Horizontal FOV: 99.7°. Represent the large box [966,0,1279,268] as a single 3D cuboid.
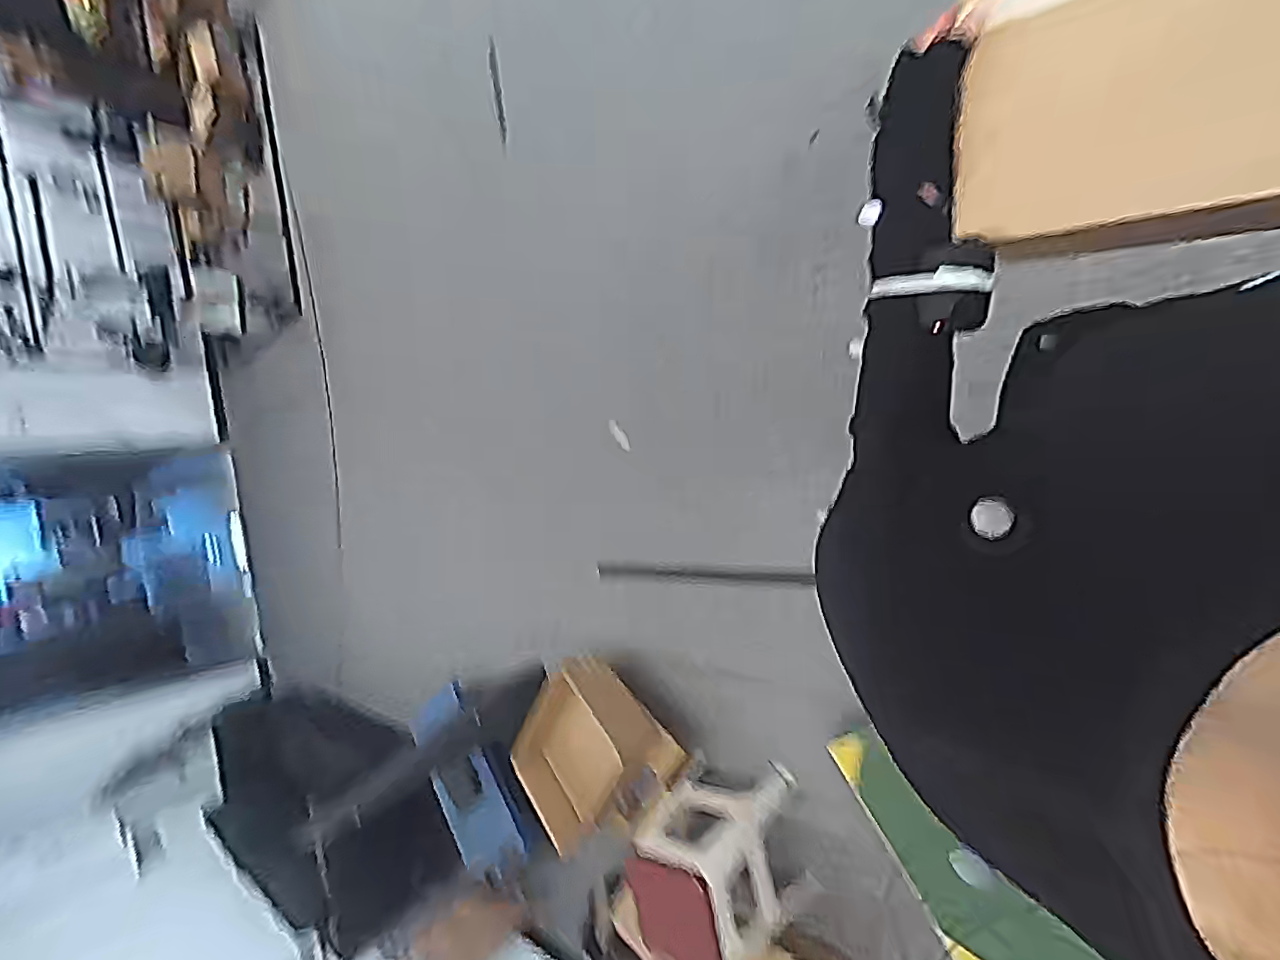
[{"bbox_3d":[0.496,-0.363,0.407,0.408,0.320,0.320,5,108,36],"label":"large box"}]
